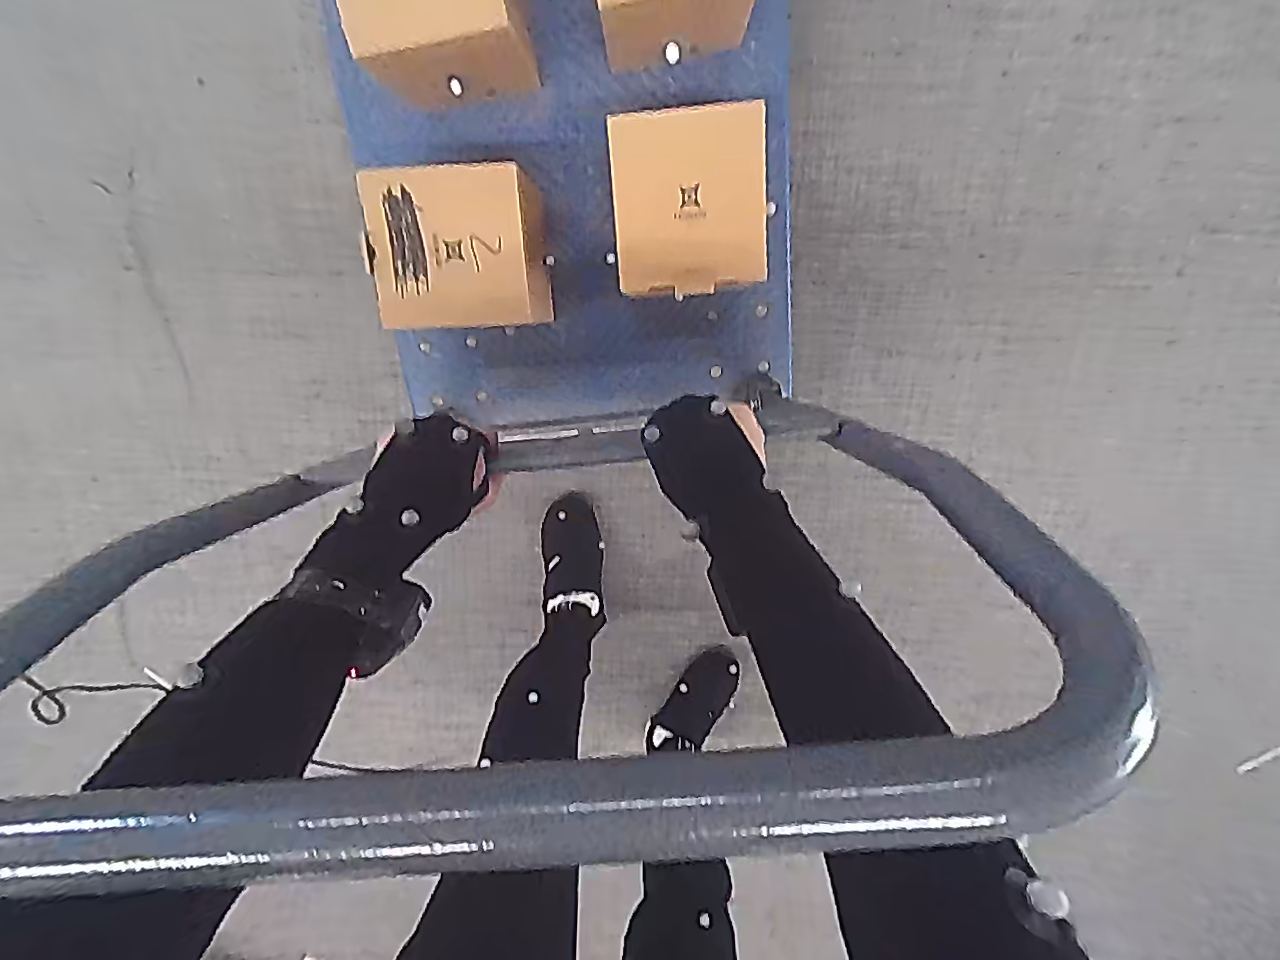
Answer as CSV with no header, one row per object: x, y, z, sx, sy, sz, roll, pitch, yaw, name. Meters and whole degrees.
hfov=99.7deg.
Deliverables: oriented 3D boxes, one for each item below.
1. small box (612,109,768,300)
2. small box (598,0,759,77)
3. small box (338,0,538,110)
0.057,-0.318,0.659,0.168,0.176,0.179,-4,108,2,small box
0.030,-0.574,0.576,0.168,0.176,0.179,-8,108,5,small box
-0.219,-0.537,0.594,0.168,0.176,0.179,-8,107,3,small box
